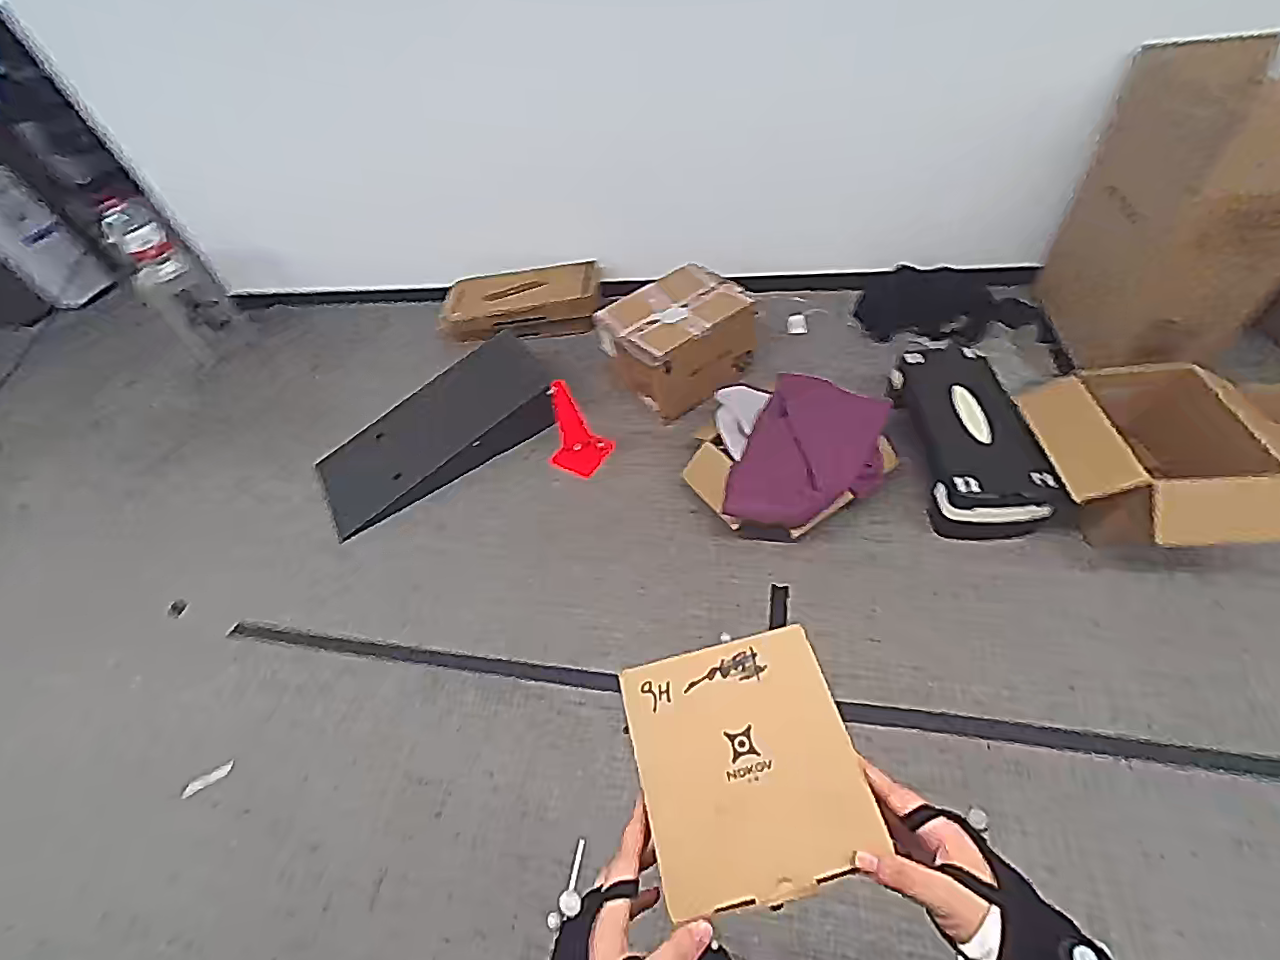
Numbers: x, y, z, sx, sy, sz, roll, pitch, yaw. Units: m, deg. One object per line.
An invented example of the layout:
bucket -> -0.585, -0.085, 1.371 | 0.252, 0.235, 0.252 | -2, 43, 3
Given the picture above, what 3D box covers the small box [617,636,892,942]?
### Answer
small box -> 0.086, 0.264, 0.482 | 0.168, 0.176, 0.179 | -15, 58, -4
